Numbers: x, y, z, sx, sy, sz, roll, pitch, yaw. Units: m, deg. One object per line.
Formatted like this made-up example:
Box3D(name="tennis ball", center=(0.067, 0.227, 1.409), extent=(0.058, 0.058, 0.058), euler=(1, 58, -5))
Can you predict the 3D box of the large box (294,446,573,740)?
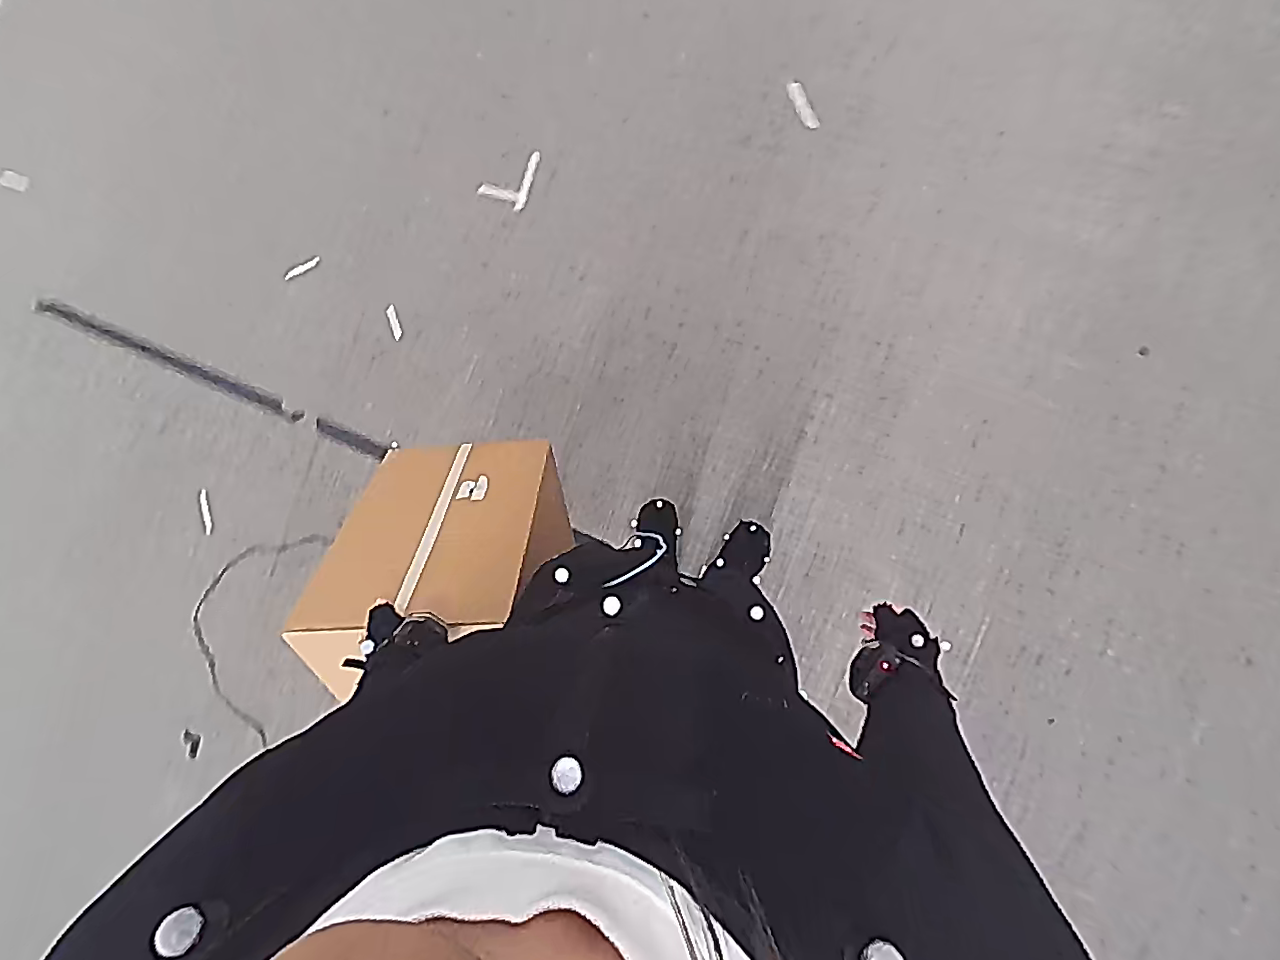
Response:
Box3D(name="large box", center=(-0.309, 0.189, 0.964), extent=(0.320, 0.408, 0.320), euler=(-4, 129, 3))
